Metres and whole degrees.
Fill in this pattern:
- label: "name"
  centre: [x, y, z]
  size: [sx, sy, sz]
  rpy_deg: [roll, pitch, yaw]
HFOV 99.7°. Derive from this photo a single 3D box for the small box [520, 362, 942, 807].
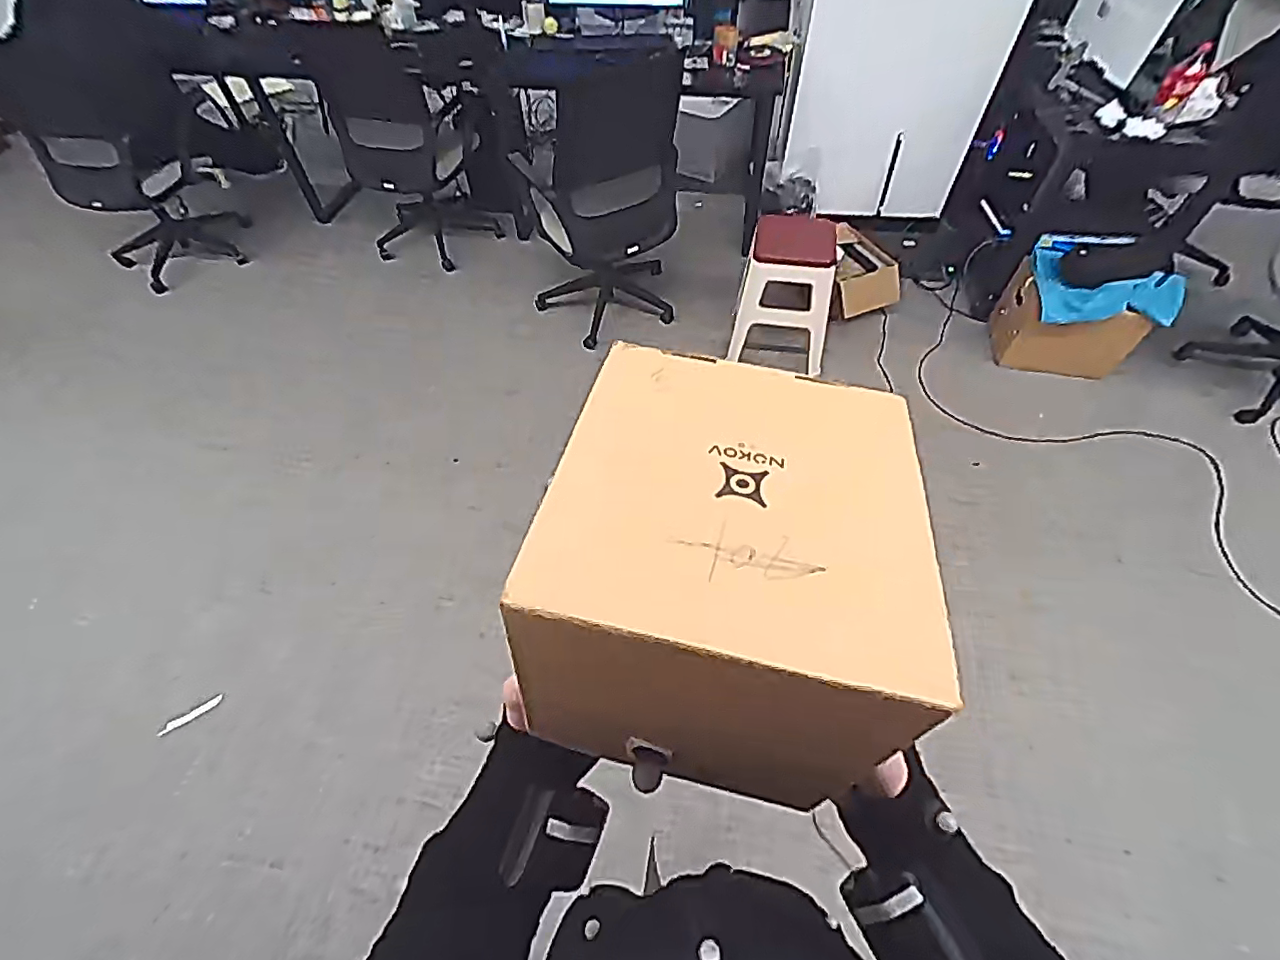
- label: "small box"
  centre: [0.042, 0.061, 0.317]
  size: [0.168, 0.176, 0.179]
  rpy_deg: [11, 49, 5]
